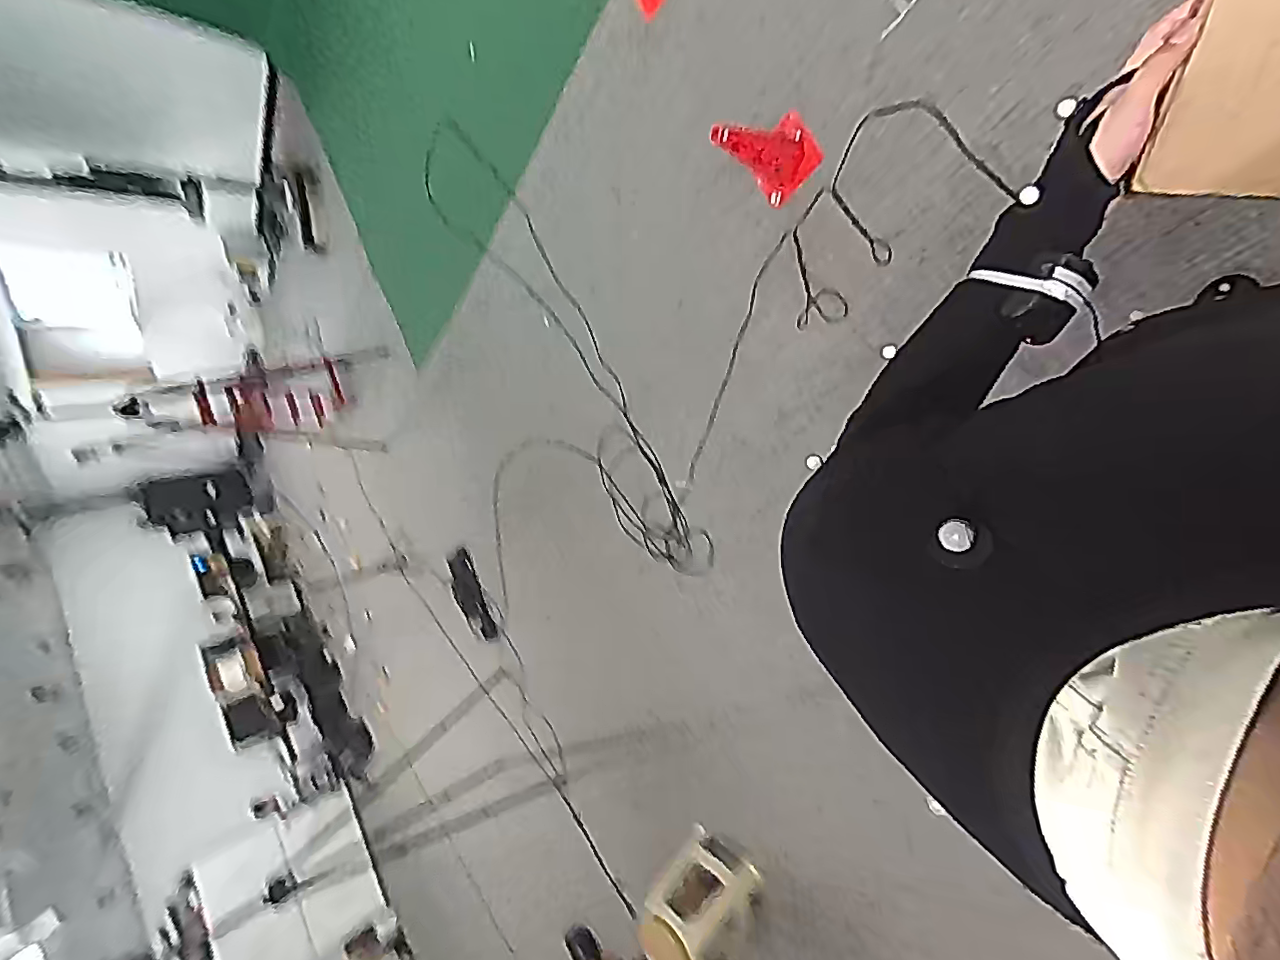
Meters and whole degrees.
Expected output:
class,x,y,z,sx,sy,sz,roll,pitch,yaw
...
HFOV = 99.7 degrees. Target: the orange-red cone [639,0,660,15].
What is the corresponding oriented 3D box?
class,x,y,z,sx,sy,sz,roll,pitch,yaw
orange-red cone,-0.070,-1.709,1.728,0.199,0.360,0.198,-28,80,47
